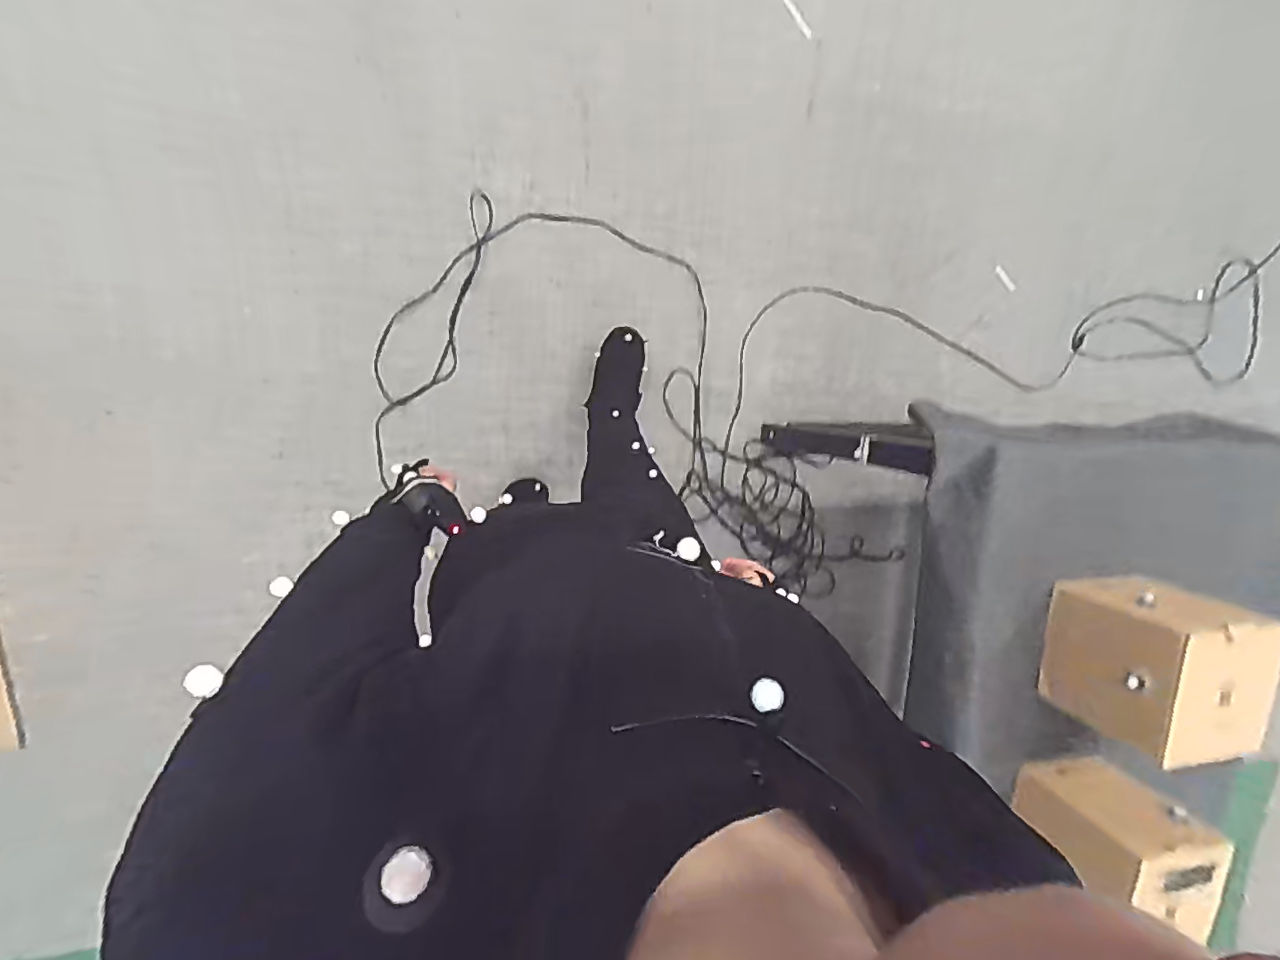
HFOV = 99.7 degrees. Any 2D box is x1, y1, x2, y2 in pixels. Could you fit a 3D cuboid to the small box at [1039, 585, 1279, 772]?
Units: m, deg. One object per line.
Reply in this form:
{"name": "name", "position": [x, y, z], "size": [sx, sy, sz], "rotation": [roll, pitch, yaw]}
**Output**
{"name": "small box", "position": [0.677, 0.246, 0.719], "size": [0.168, 0.176, 0.179], "rotation": [-1, 101, -12]}
